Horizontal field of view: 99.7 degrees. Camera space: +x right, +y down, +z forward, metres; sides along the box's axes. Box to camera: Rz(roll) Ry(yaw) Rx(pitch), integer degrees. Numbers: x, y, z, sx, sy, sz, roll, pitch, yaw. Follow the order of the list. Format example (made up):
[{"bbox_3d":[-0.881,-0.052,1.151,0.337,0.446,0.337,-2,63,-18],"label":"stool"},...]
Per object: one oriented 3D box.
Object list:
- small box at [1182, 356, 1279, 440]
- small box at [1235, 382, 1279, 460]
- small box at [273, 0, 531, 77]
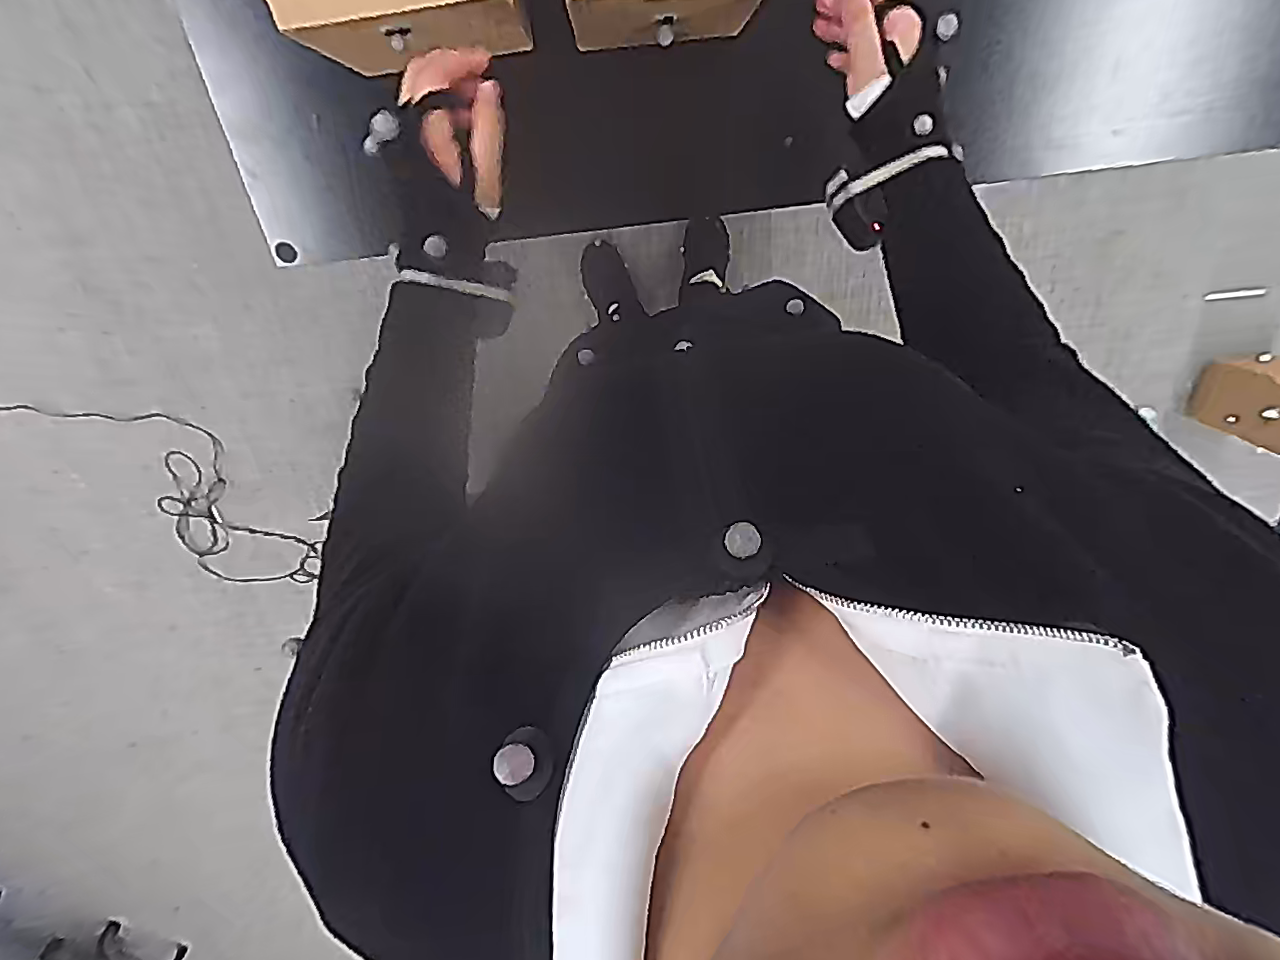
[{"bbox_3d":[1.640,-0.225,1.461,0.168,0.176,0.179,-4,117,0],"label":"small box"},{"bbox_3d":[1.651,-0.143,1.320,0.179,0.176,0.168,-5,117,2],"label":"small box"},{"bbox_3d":[-0.202,-0.461,0.451,0.179,0.176,0.168,-9,117,1],"label":"small box"}]
